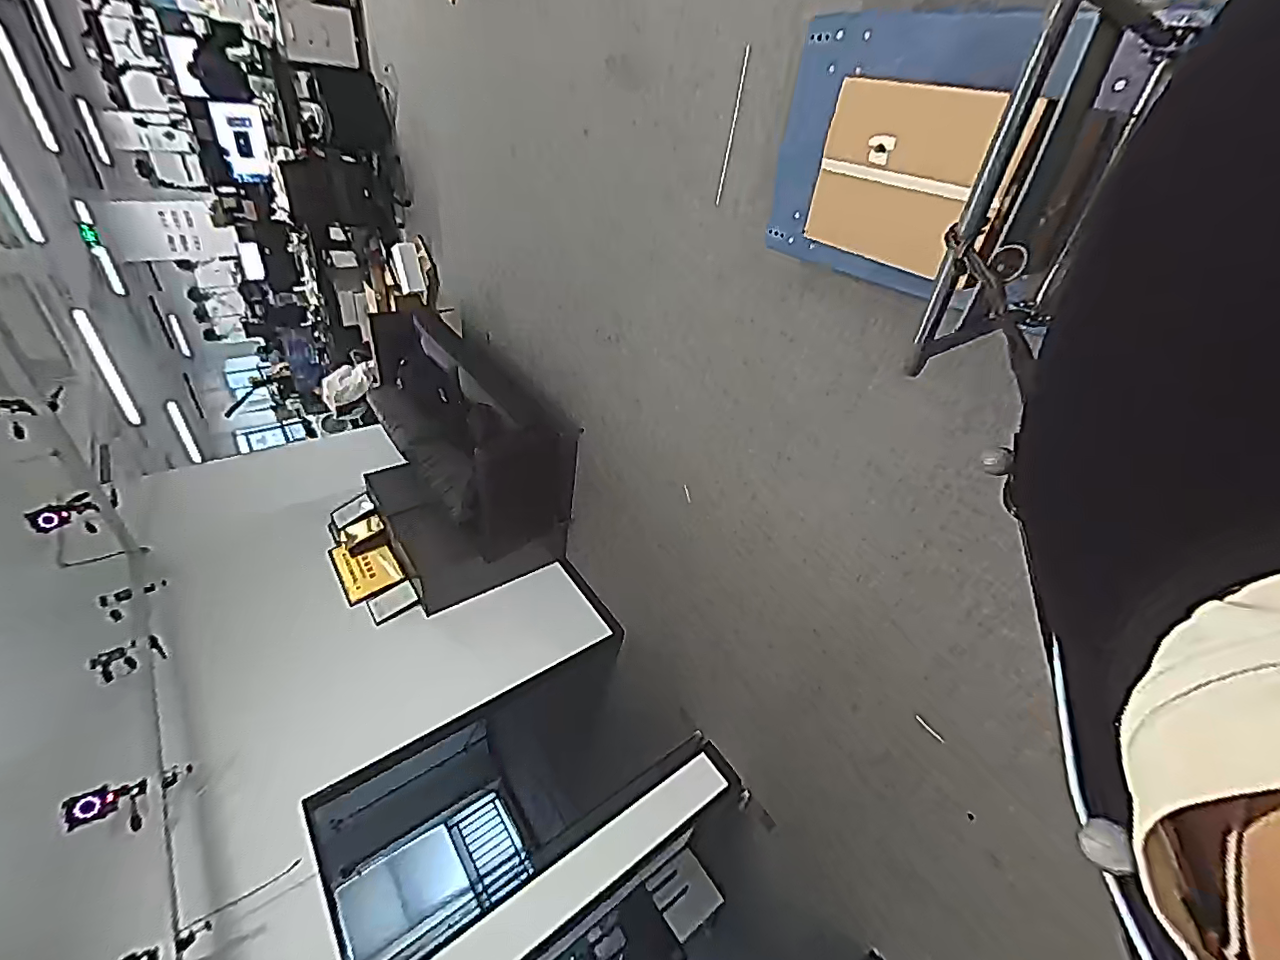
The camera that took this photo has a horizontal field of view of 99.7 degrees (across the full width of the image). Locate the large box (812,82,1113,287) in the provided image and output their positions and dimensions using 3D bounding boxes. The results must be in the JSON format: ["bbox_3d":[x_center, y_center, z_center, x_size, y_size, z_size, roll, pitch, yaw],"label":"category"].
[{"bbox_3d":[0.661,-0.641,1.163,0.408,0.320,0.320,42,138,37],"label":"large box"}]
